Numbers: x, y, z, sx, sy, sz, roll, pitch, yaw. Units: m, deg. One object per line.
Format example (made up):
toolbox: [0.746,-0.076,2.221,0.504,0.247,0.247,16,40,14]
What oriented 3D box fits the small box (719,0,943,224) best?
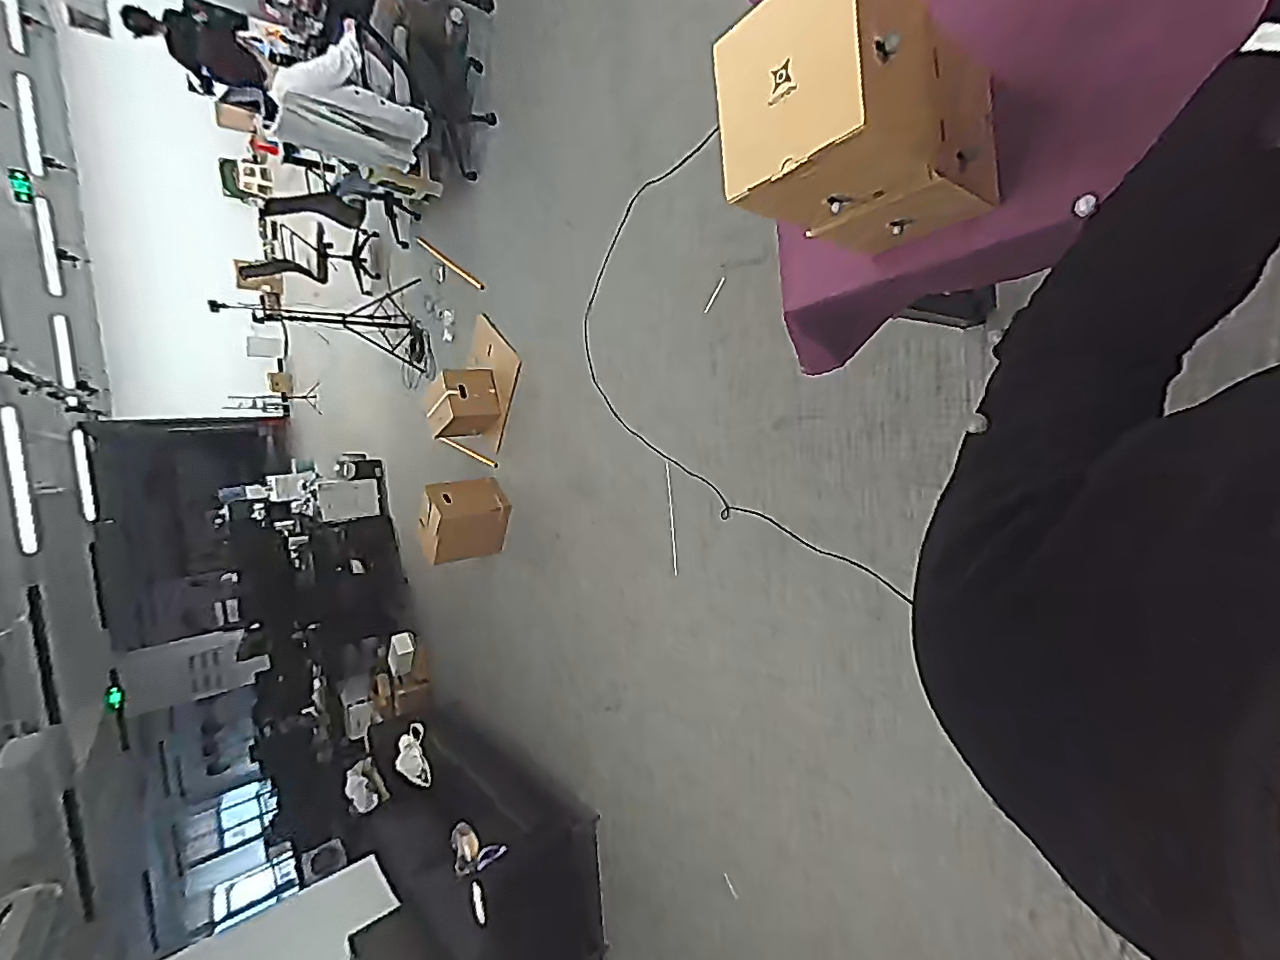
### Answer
small box: [0.208,-0.409,0.589,0.168,0.176,0.179,-3,95,51]
